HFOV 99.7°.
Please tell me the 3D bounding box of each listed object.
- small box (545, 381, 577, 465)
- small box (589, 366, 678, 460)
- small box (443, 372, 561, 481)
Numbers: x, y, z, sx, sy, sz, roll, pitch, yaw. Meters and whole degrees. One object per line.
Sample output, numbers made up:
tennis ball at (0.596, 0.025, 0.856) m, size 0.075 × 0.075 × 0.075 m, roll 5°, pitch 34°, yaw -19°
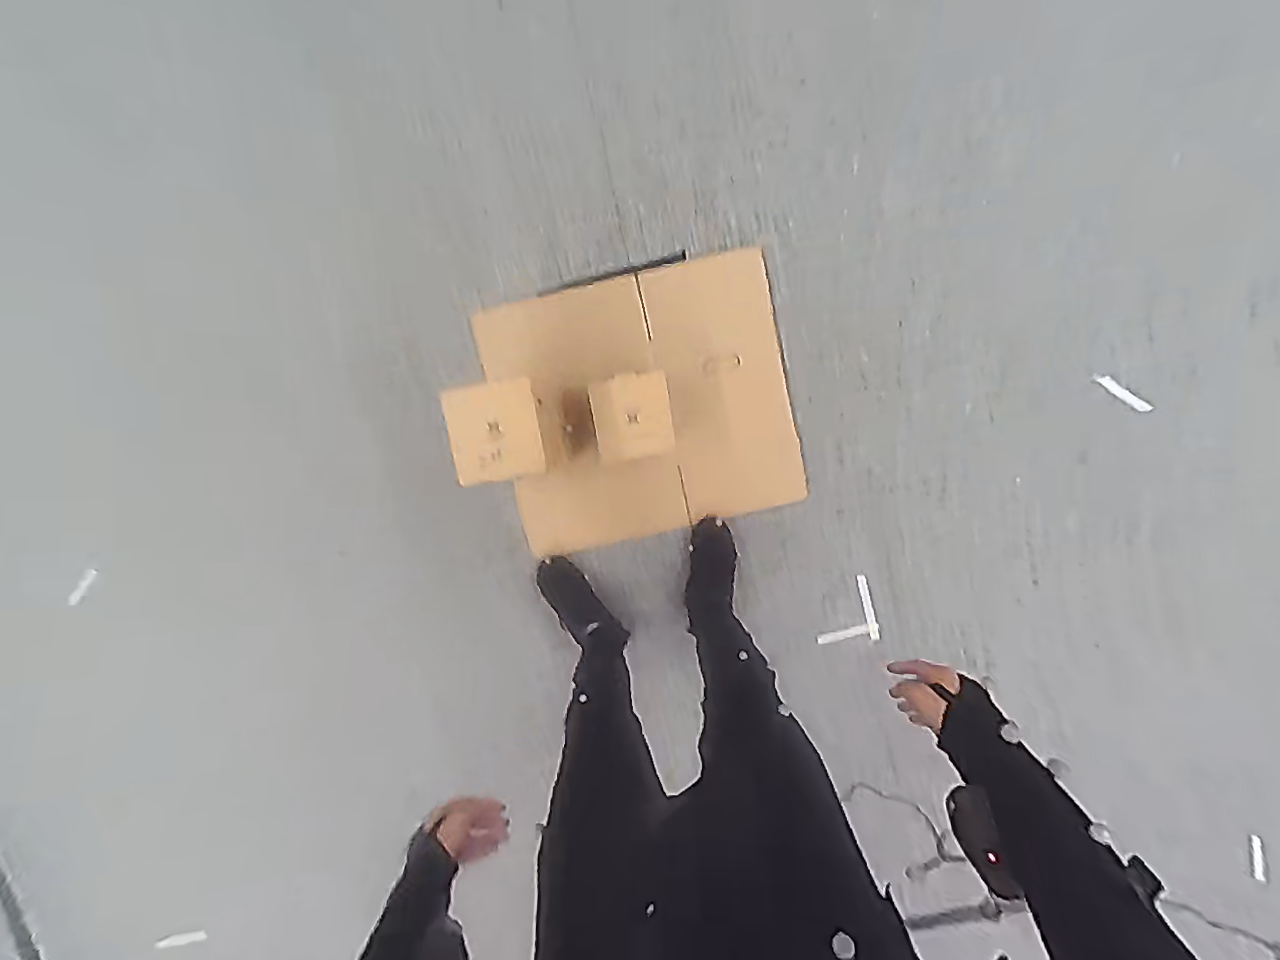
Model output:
small box at (-0.244, -0.120, 1.210) m, size 0.168 × 0.176 × 0.179 m, roll -10°, pitch 98°, yaw 2°
small box at (-0.015, -0.148, 1.205) m, size 0.168 × 0.176 × 0.179 m, roll -10°, pitch 97°, yaw 1°
small box at (-0.258, -0.104, 1.046) m, size 0.168 × 0.176 × 0.179 m, roll -10°, pitch 97°, yaw 3°
